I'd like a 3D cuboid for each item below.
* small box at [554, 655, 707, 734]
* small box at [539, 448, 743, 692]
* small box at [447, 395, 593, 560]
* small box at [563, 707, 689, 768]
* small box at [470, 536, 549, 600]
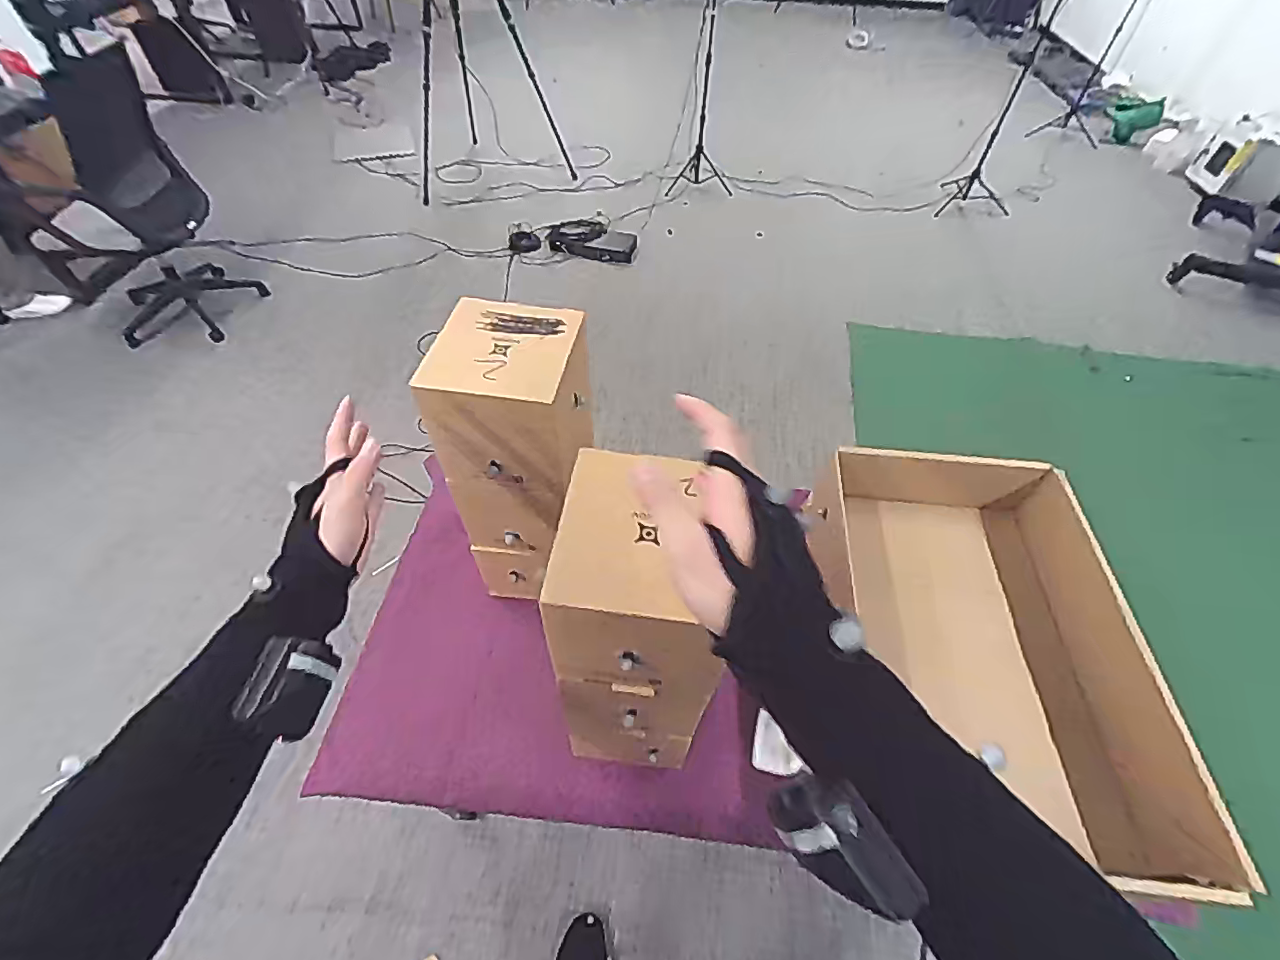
[{"bbox_3d":[-0.003,0.200,0.675,0.168,0.176,0.179,7,51,2],"label":"small box"},{"bbox_3d":[0.007,0.095,0.547,0.168,0.176,0.179,8,49,3],"label":"small box"},{"bbox_3d":[-0.170,-0.002,0.833,0.168,0.176,0.179,8,51,5],"label":"small box"},{"bbox_3d":[-0.009,0.307,0.798,0.168,0.176,0.179,7,50,3],"label":"small box"},{"bbox_3d":[-0.181,0.104,0.959,0.168,0.176,0.179,5,50,2],"label":"small box"}]
